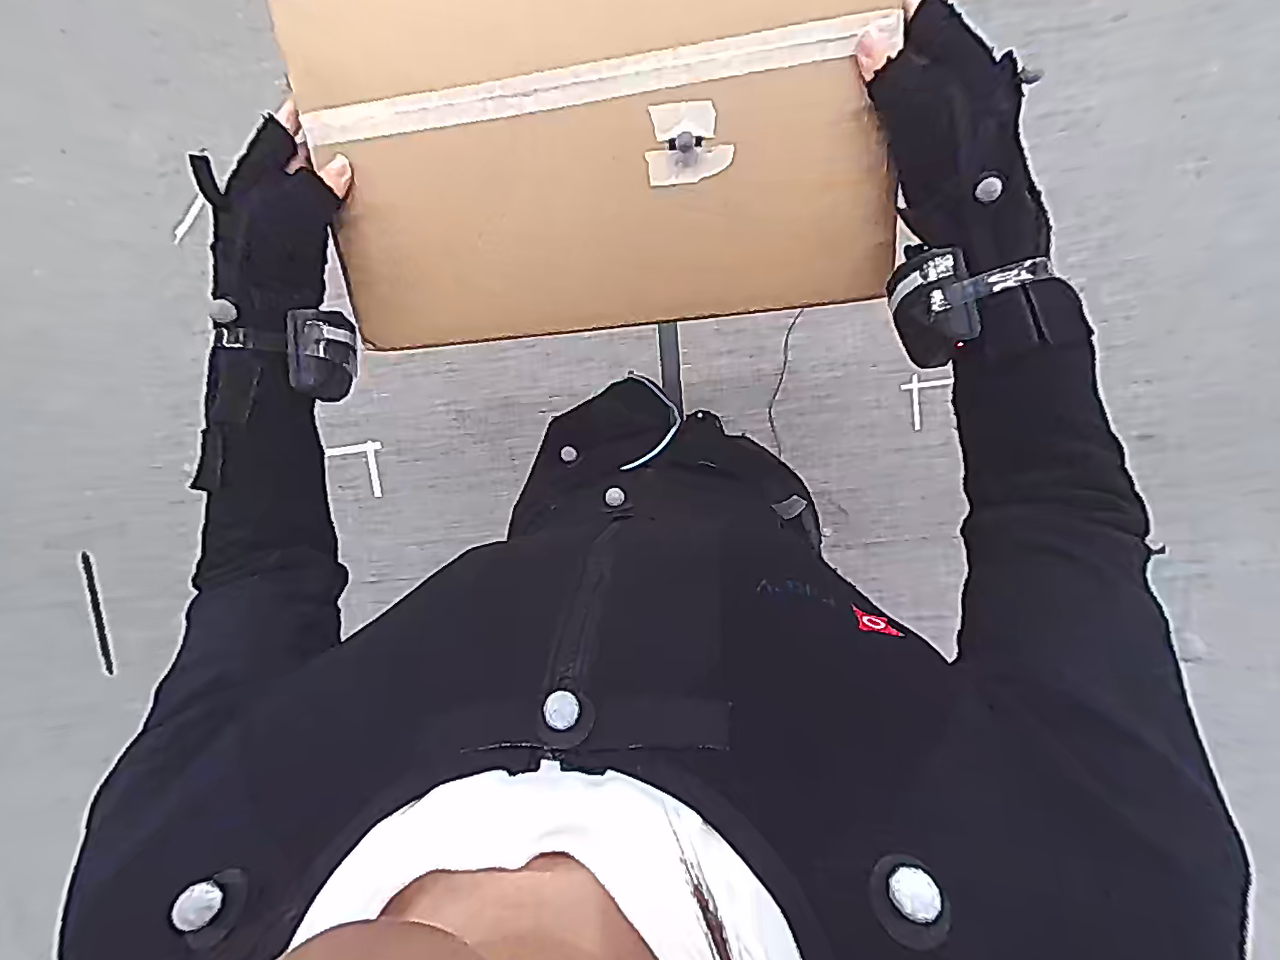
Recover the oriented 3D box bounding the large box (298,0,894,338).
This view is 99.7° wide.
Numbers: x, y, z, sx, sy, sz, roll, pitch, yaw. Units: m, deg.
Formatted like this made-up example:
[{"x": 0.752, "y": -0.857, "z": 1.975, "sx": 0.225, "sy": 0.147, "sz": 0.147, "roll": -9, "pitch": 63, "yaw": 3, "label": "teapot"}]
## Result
[{"x": -0.020, "y": -0.325, "z": 0.512, "sx": 0.408, "sy": 0.320, "sz": 0.320, "roll": -4, "pitch": 109, "yaw": 7, "label": "large box"}]
